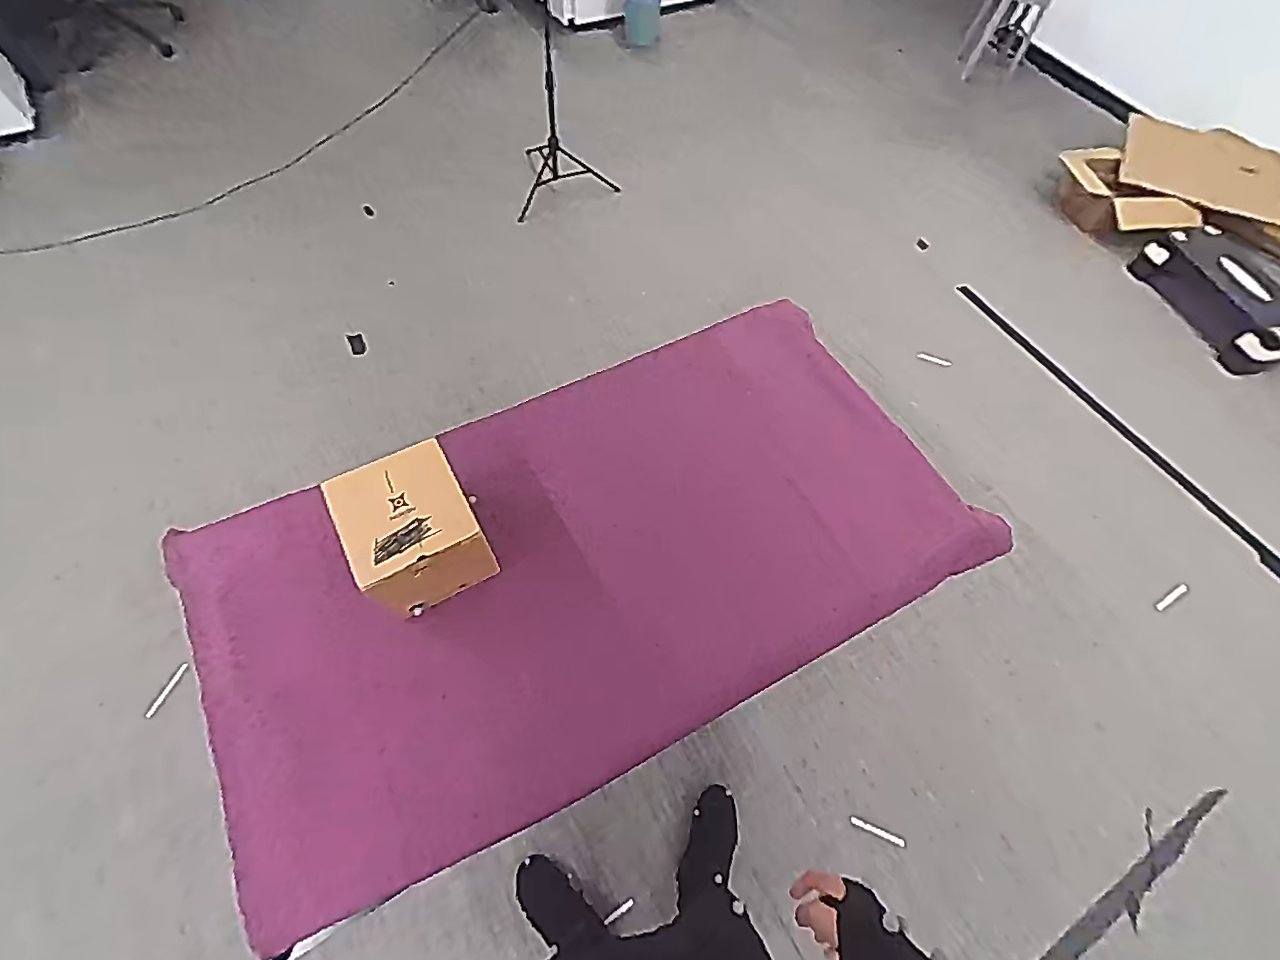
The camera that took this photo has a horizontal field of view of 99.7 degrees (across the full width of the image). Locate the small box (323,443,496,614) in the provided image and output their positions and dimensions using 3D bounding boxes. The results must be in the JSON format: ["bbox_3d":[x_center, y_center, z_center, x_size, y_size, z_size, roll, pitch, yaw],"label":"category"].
[{"bbox_3d":[-0.332,0.082,0.808,0.168,0.176,0.179,-26,67,-18],"label":"small box"}]
